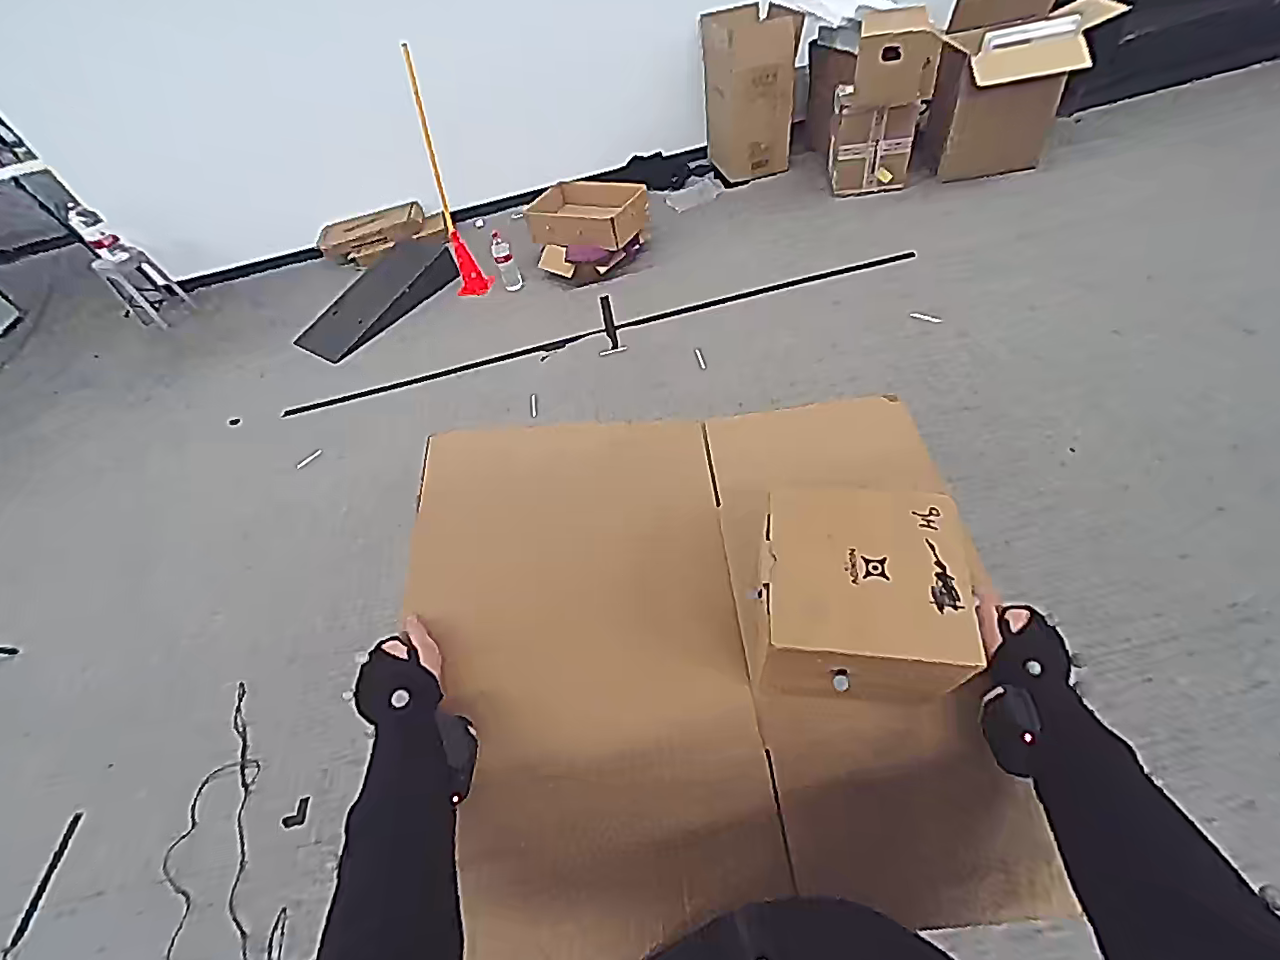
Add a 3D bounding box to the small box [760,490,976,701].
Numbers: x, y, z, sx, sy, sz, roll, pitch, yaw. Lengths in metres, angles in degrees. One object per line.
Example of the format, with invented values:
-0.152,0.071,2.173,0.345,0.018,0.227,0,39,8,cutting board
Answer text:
0.218,0.126,0.571,0.179,0.176,0.168,2,57,11,small box
